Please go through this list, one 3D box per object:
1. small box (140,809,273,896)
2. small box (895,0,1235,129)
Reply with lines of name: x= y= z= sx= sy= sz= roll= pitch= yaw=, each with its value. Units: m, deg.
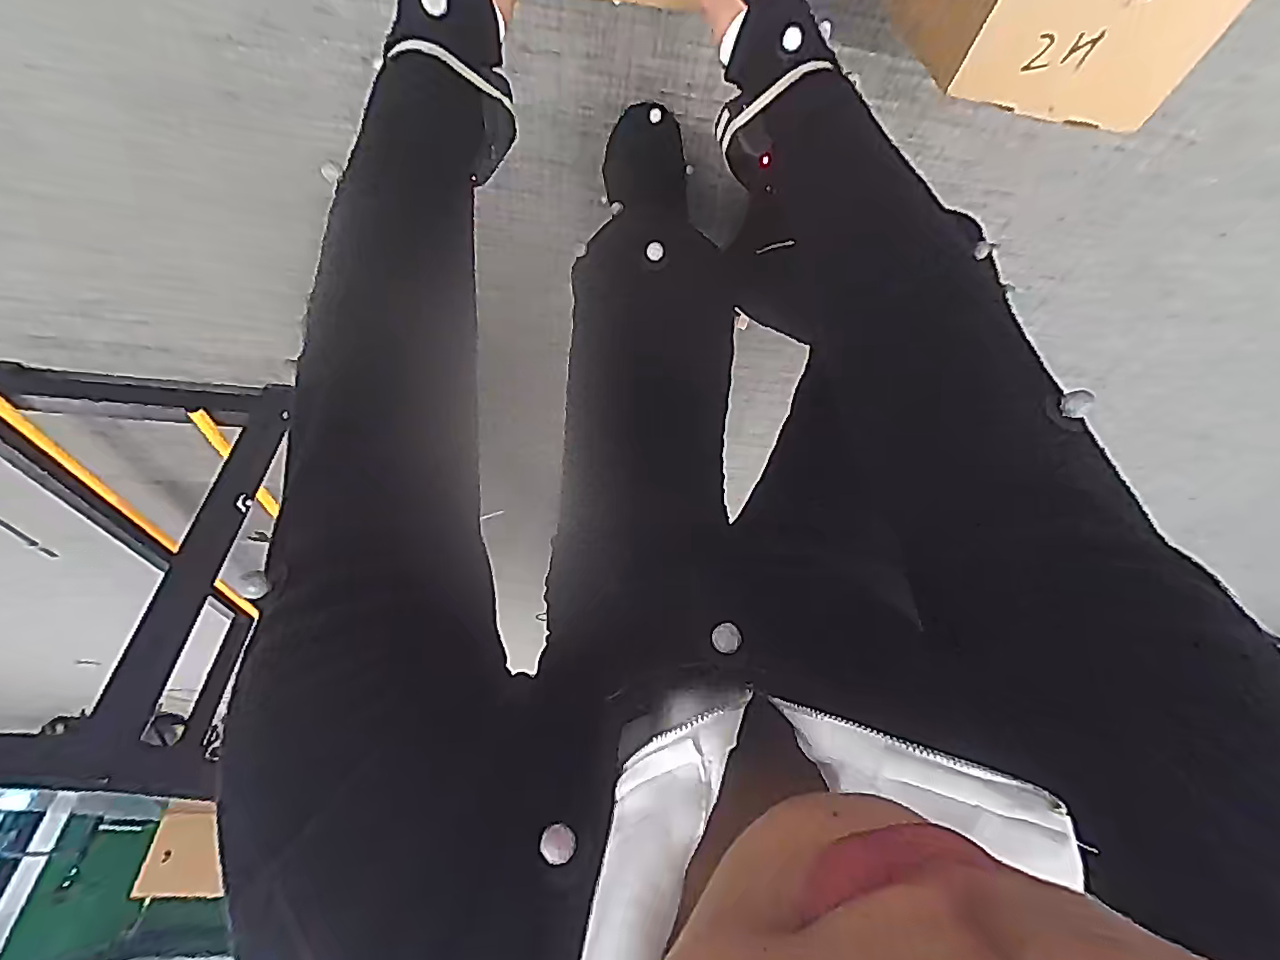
small box: x=-1.067 y=0.927 z=1.350 sx=0.179 sy=0.176 sz=0.168 roll=3 pitch=147 yaw=-5
small box: x=0.314 y=-0.396 z=0.386 sx=0.168 sy=0.176 sz=0.179 roll=6 pitch=146 yaw=-8
